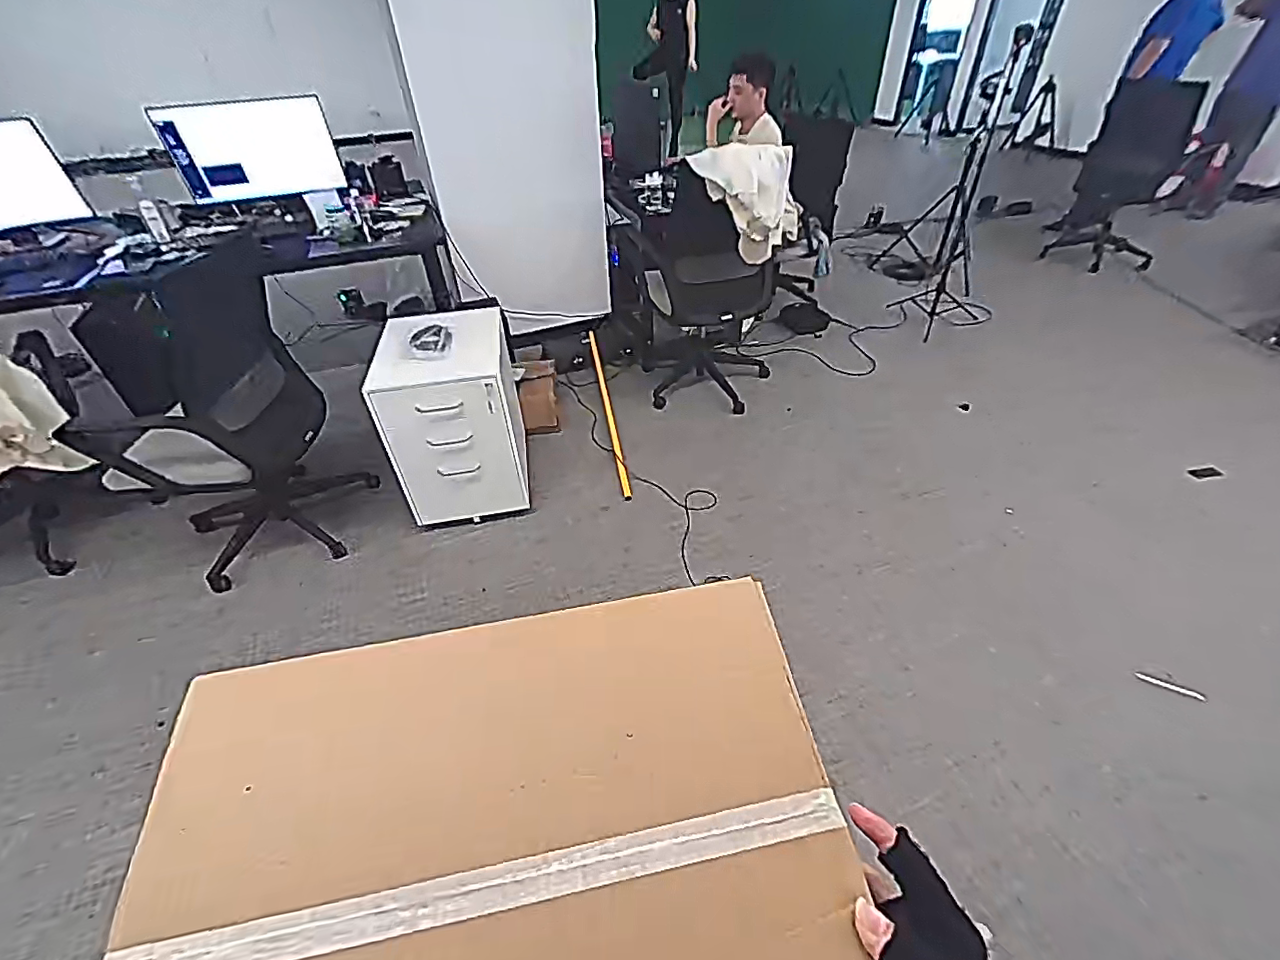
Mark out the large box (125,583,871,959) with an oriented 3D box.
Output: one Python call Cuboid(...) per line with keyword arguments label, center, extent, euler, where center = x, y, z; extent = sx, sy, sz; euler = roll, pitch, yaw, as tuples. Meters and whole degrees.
Cuboid(label="large box", center=(-0.081, 0.320, 0.433), extent=(0.408, 0.320, 0.320), euler=(-9, 53, -6))
